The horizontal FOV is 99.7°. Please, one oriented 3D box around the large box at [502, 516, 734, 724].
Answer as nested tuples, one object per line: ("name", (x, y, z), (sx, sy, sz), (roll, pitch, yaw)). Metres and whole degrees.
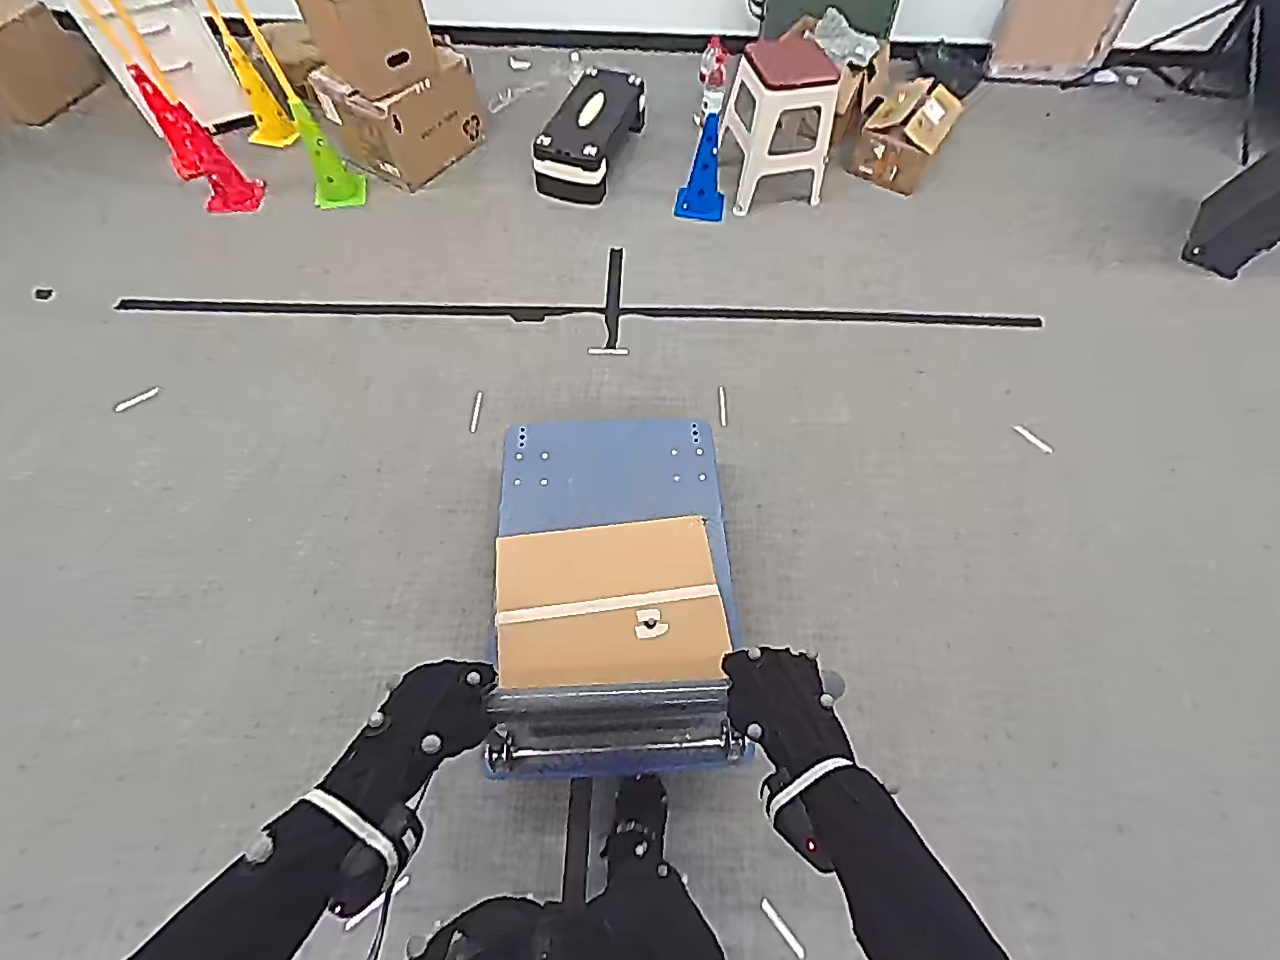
("large box", (-0.059, 0.300, 1.130), (0.408, 0.320, 0.320), (-6, 62, -7))
